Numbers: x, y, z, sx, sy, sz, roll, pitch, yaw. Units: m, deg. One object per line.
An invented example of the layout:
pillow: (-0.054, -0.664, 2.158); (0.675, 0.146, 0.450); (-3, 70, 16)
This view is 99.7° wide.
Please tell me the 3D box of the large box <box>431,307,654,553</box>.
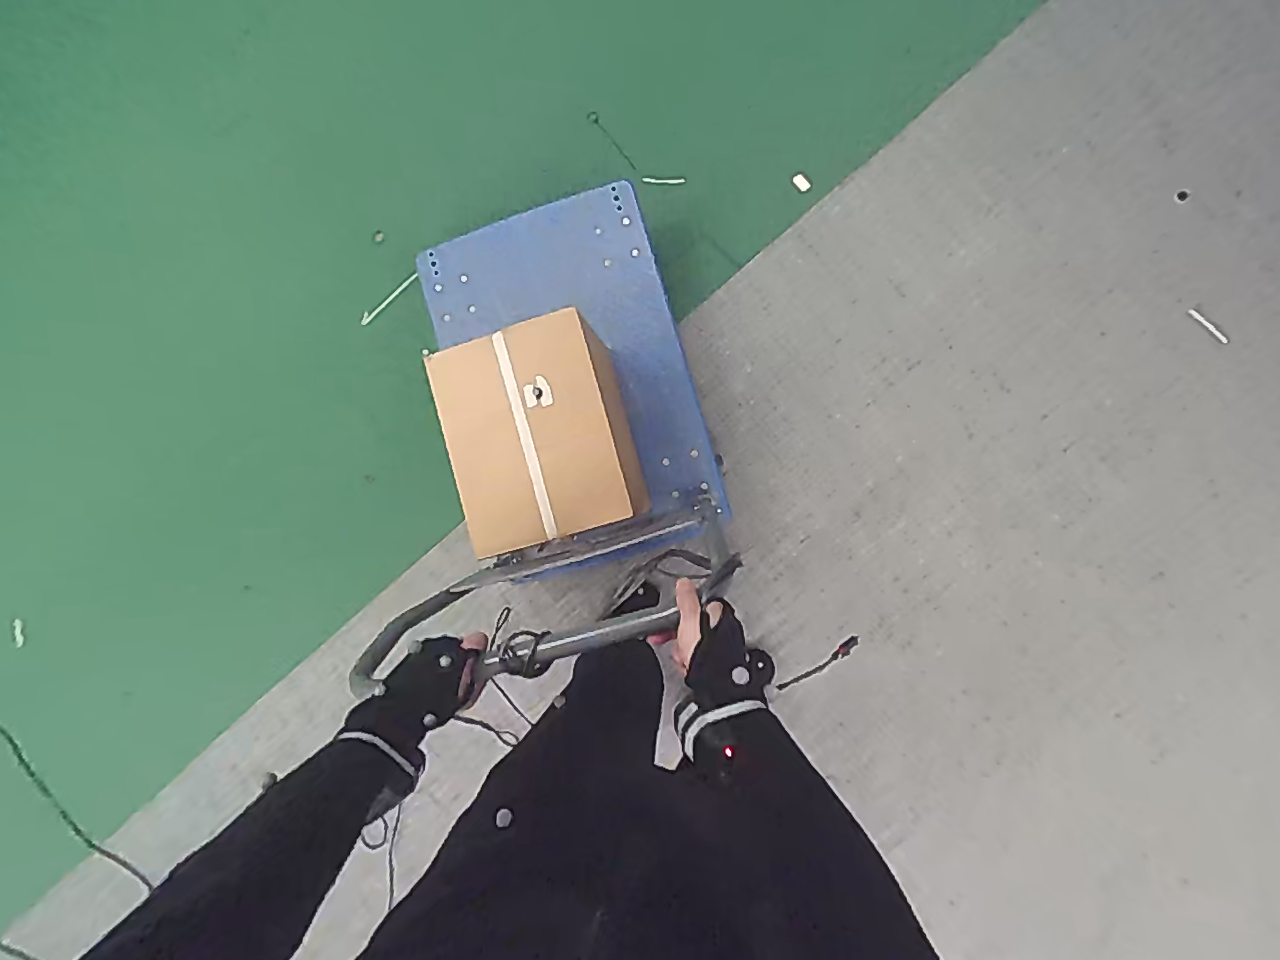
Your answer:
large box: (-0.184, -0.087, 1.156); (0.320, 0.320, 0.408); (-16, 86, 7)
